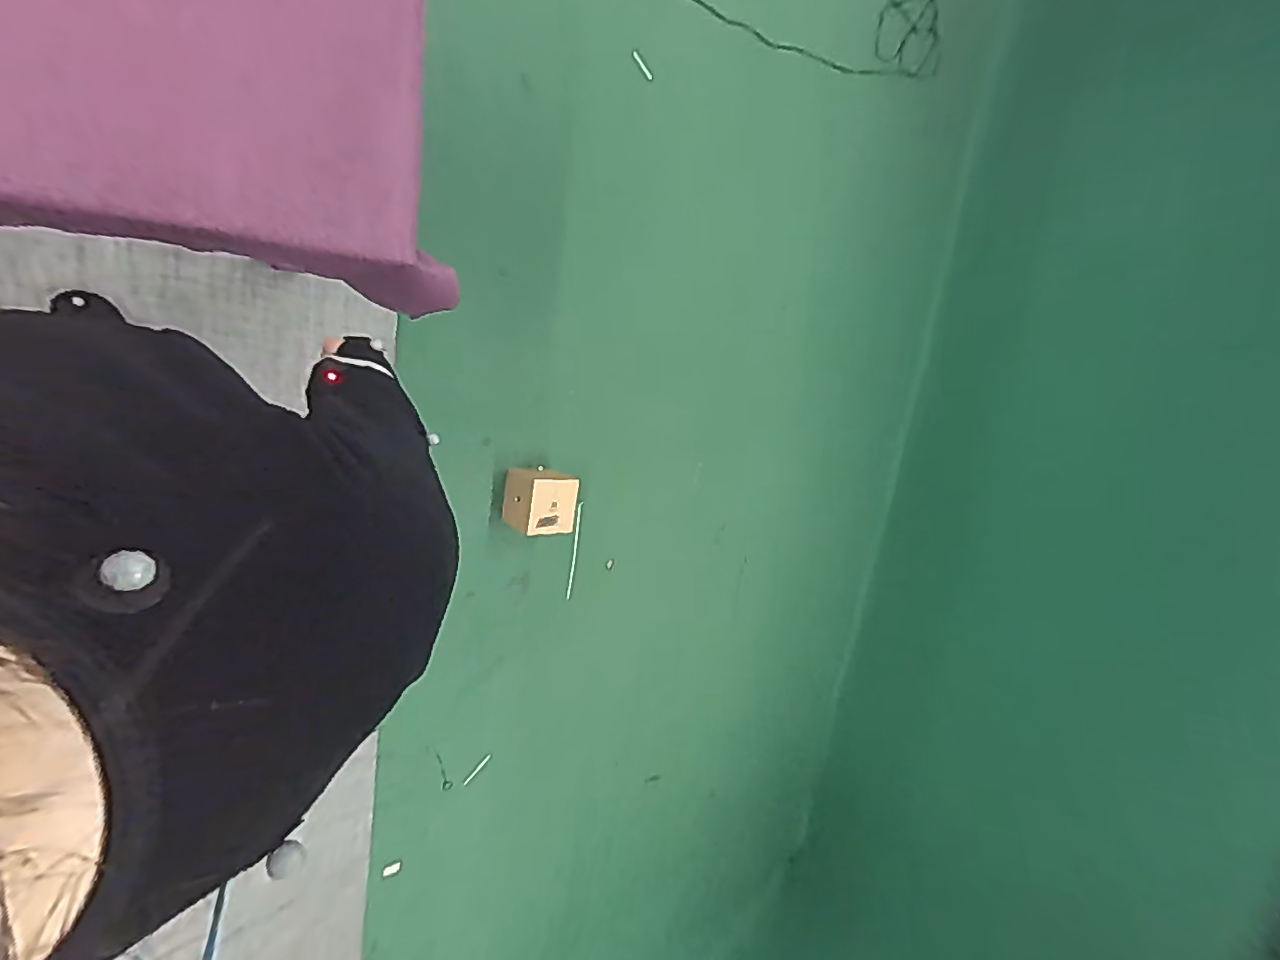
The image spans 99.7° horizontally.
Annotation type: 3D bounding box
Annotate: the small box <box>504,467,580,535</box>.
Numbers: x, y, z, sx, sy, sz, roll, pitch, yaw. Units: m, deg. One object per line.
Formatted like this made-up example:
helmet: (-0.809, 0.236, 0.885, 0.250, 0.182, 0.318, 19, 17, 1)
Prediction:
small box: (-0.315, 0.063, 1.712, 0.168, 0.176, 0.179, 1, 102, -42)
